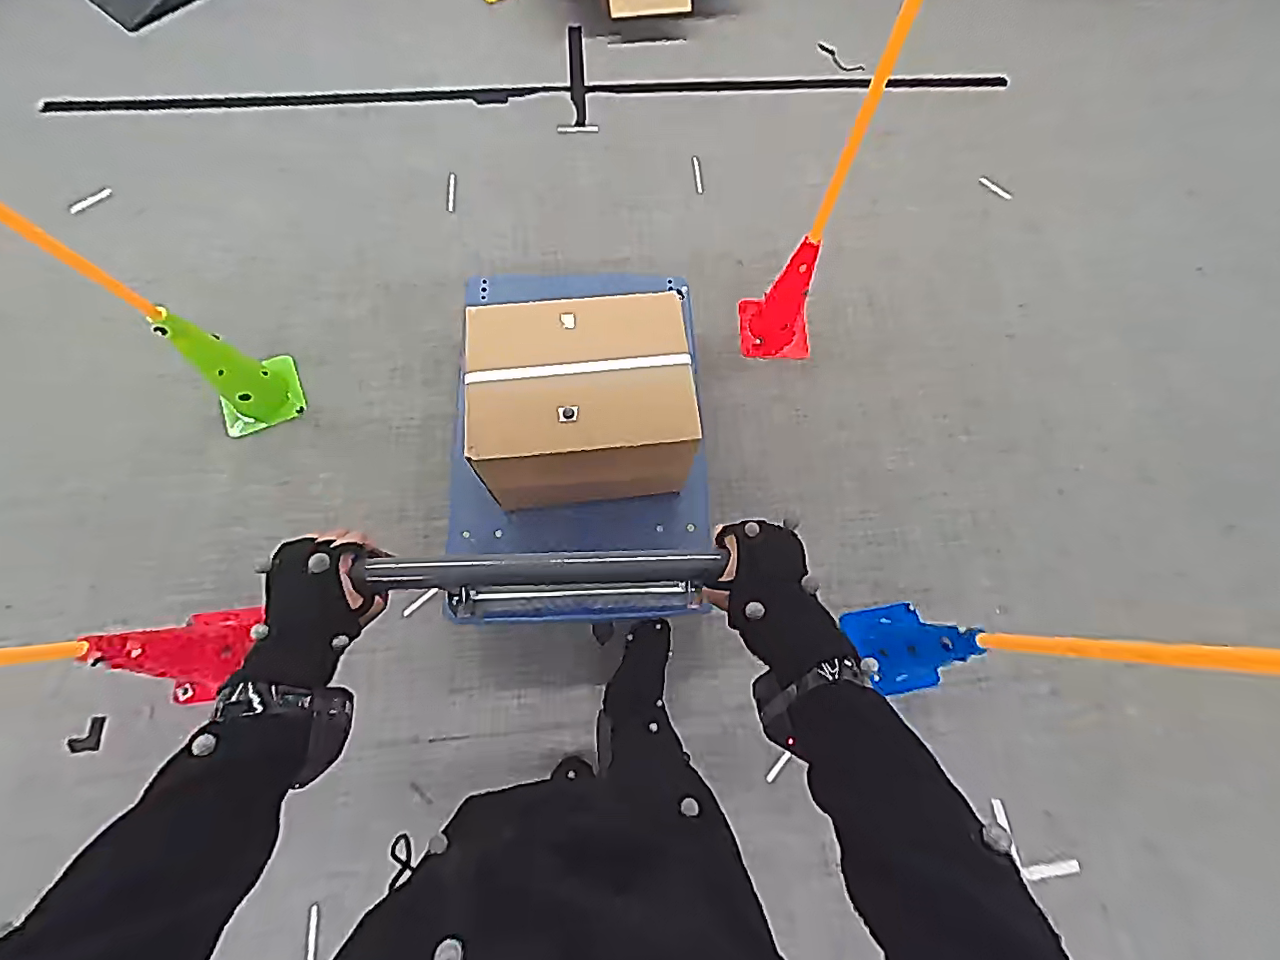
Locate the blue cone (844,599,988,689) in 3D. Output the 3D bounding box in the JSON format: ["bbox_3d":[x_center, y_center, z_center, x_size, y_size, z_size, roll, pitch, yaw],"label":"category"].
[{"bbox_3d":[0.607,0.335,1.145,0.193,0.380,0.192,-8,70,-6],"label":"blue cone"}]

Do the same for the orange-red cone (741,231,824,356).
[{"bbox_3d":[0.403,-0.509,1.422,0.199,0.360,0.198,3,71,-3],"label":"orange-red cone"}]
